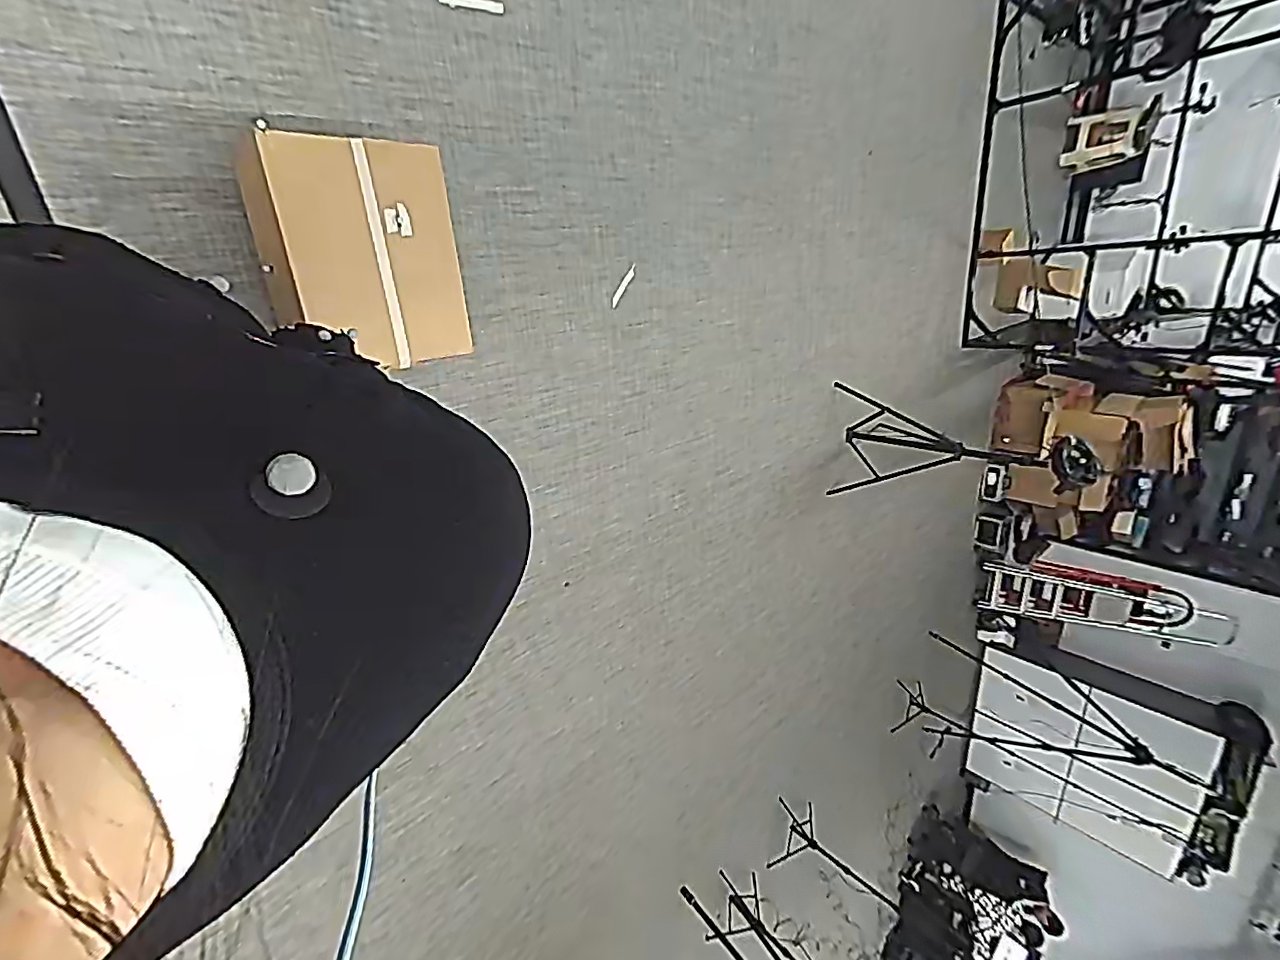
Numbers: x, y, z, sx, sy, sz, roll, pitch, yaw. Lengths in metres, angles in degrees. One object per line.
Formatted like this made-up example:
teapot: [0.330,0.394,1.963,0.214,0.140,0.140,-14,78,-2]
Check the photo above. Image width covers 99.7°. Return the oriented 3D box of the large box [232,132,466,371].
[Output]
large box: [-0.617,-0.464,1.162,0.320,0.320,0.408,-21,114,-38]
